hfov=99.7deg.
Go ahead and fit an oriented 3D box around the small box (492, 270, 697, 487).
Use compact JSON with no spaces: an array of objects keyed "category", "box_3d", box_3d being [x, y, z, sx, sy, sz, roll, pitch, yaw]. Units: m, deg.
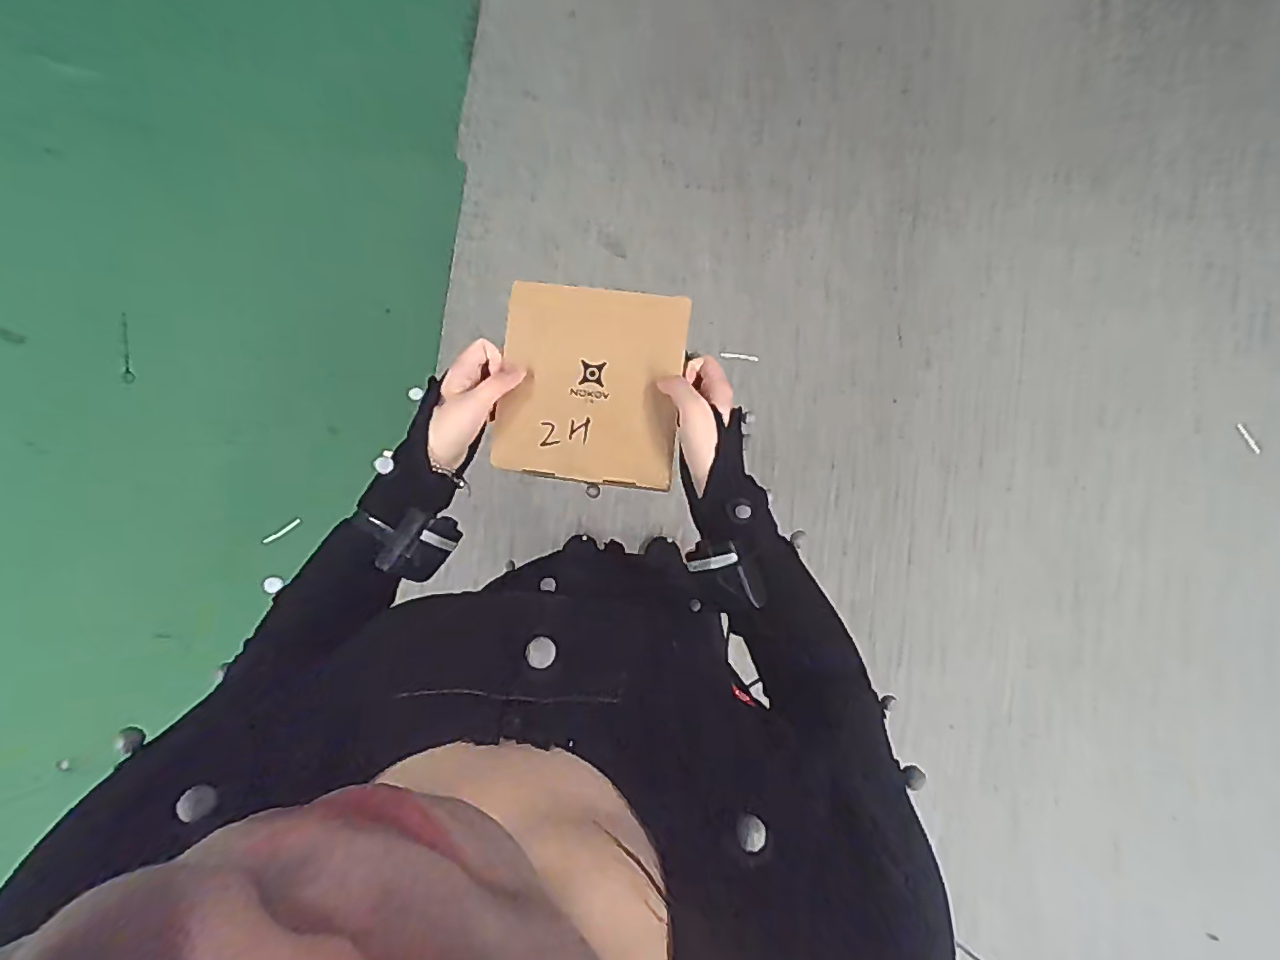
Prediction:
[{"category":"small box","box_3d":[-0.037,-0.090,0.556,0.168,0.176,0.179,6,88,4]}]
